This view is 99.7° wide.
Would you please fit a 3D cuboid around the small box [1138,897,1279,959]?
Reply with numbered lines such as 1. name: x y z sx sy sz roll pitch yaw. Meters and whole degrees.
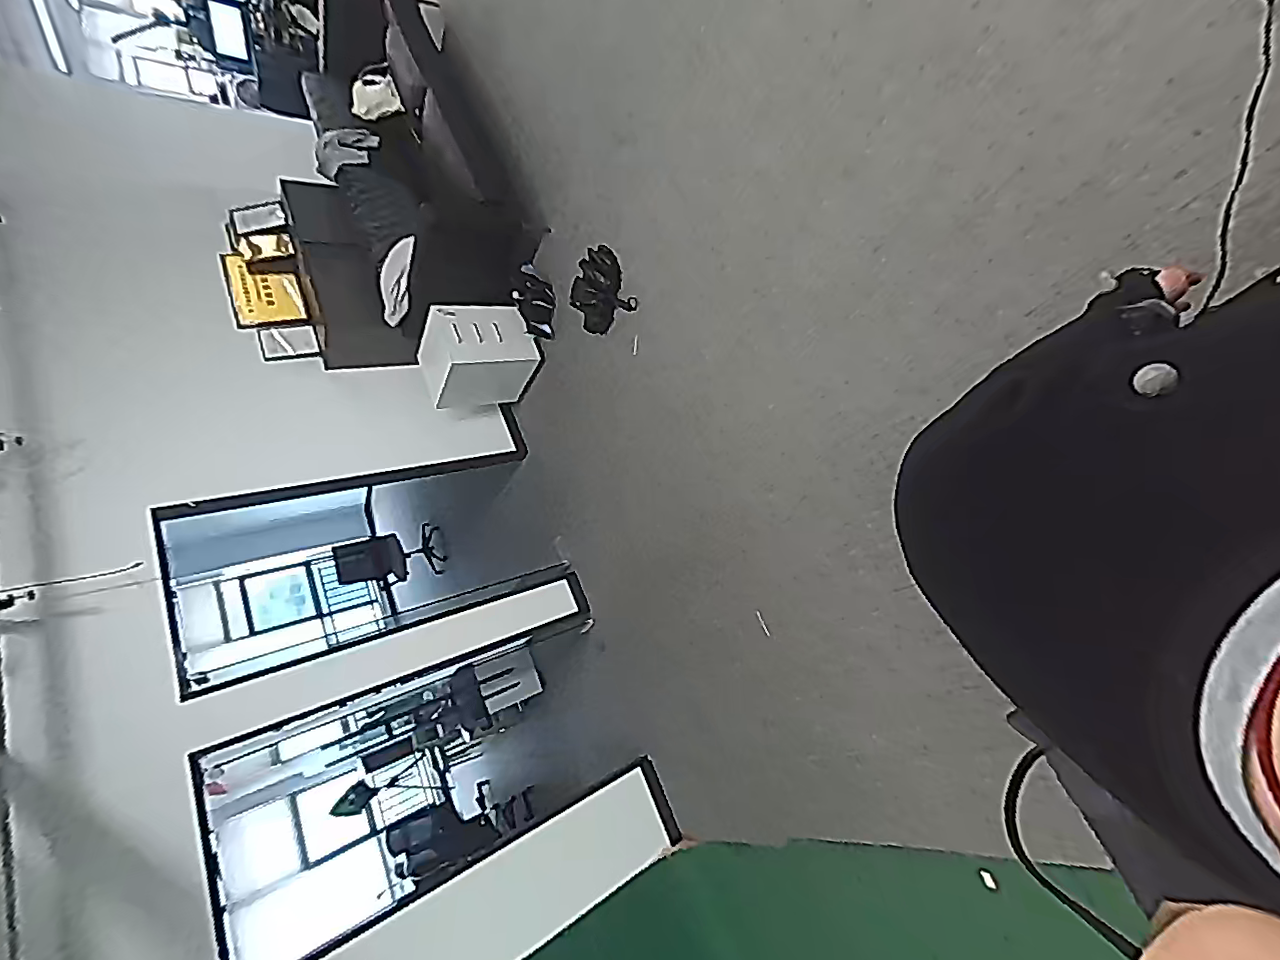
1. small box: 0.701 0.604 0.597 0.179 0.176 0.168 -46 62 51
